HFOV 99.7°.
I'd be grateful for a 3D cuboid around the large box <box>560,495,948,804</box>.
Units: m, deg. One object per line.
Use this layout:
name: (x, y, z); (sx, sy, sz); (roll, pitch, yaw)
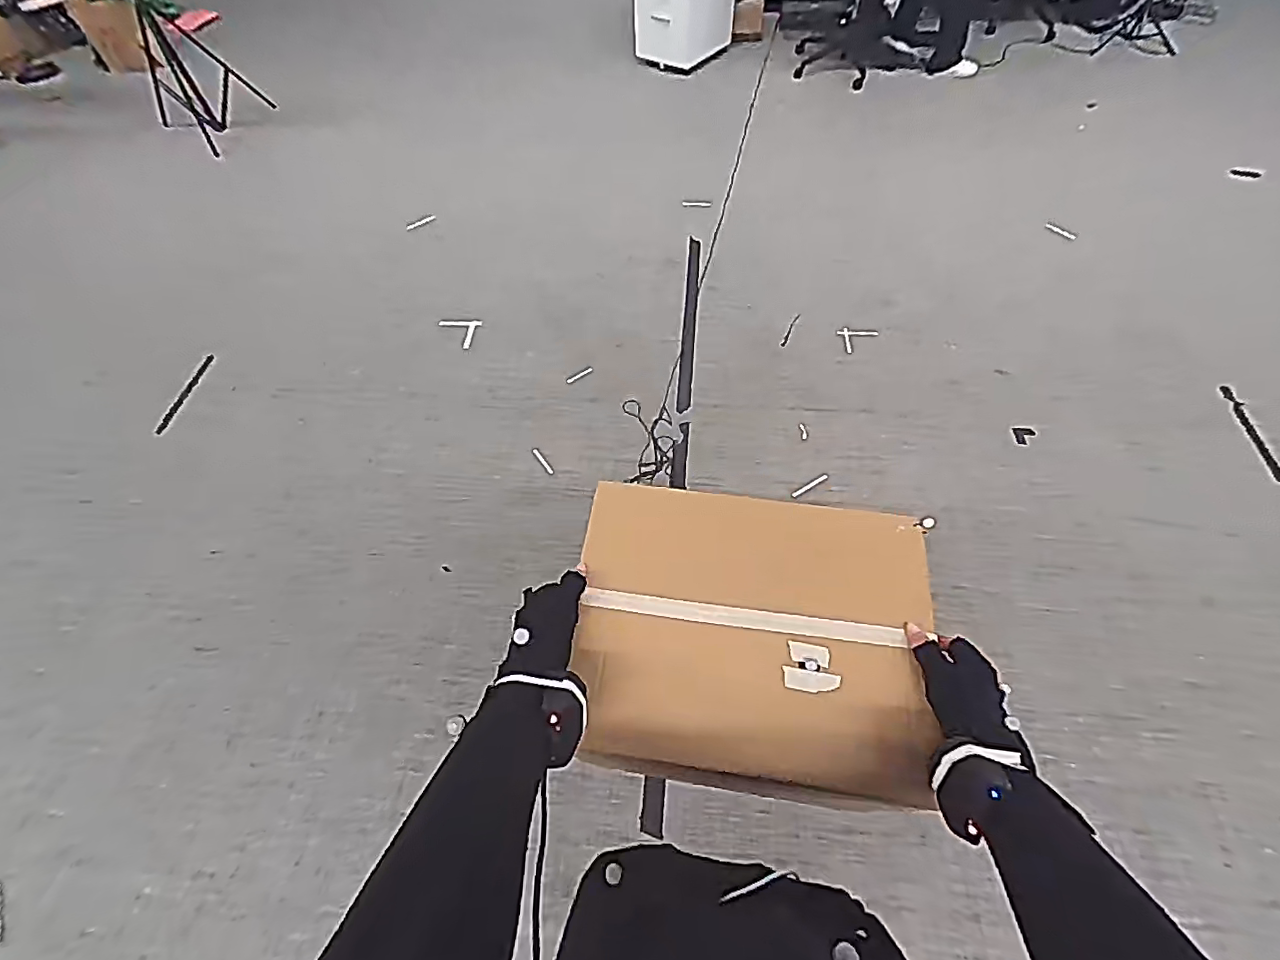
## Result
large box: (0.131, 0.245, 0.754); (0.408, 0.320, 0.320); (7, 60, 5)
